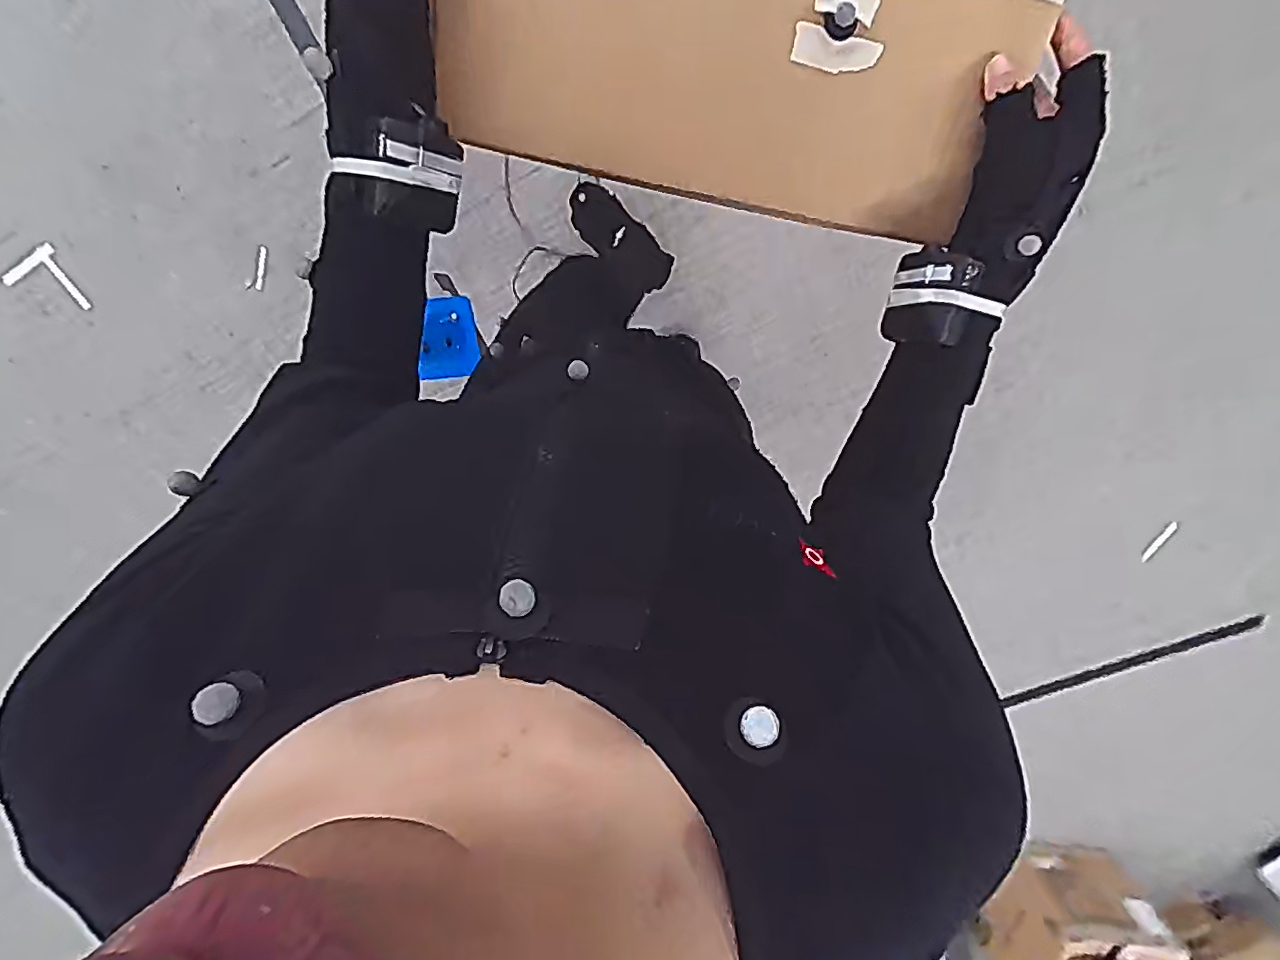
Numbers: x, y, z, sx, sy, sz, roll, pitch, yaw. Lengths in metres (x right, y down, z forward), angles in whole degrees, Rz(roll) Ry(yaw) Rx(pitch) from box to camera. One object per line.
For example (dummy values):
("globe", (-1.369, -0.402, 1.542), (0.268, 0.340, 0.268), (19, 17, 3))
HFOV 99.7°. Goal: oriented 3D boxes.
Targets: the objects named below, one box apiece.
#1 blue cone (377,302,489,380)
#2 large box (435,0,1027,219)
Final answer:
("blue cone", (-0.505, -0.297, 1.250), (0.193, 0.380, 0.192), (-3, 112, 4))
("large box", (0.070, -0.435, 0.478), (0.408, 0.320, 0.320), (10, 118, -3))
